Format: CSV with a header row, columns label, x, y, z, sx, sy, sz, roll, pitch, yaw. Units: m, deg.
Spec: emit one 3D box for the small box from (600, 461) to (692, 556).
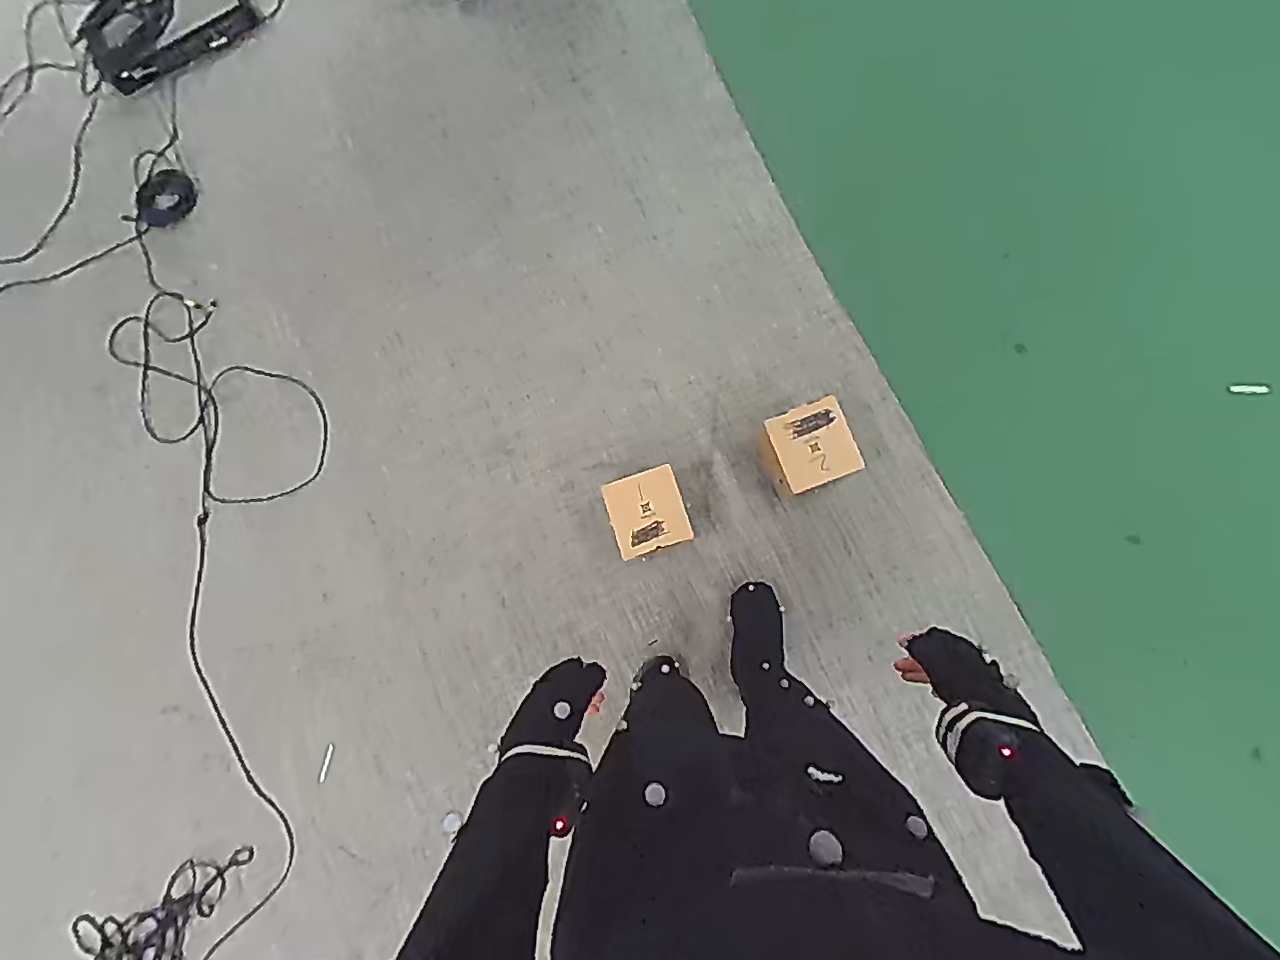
label,x,y,z,sx,sy,sz,roll,pitch,yaw
small box,0.021,0.070,1.260,0.168,0.176,0.179,-18,81,3
